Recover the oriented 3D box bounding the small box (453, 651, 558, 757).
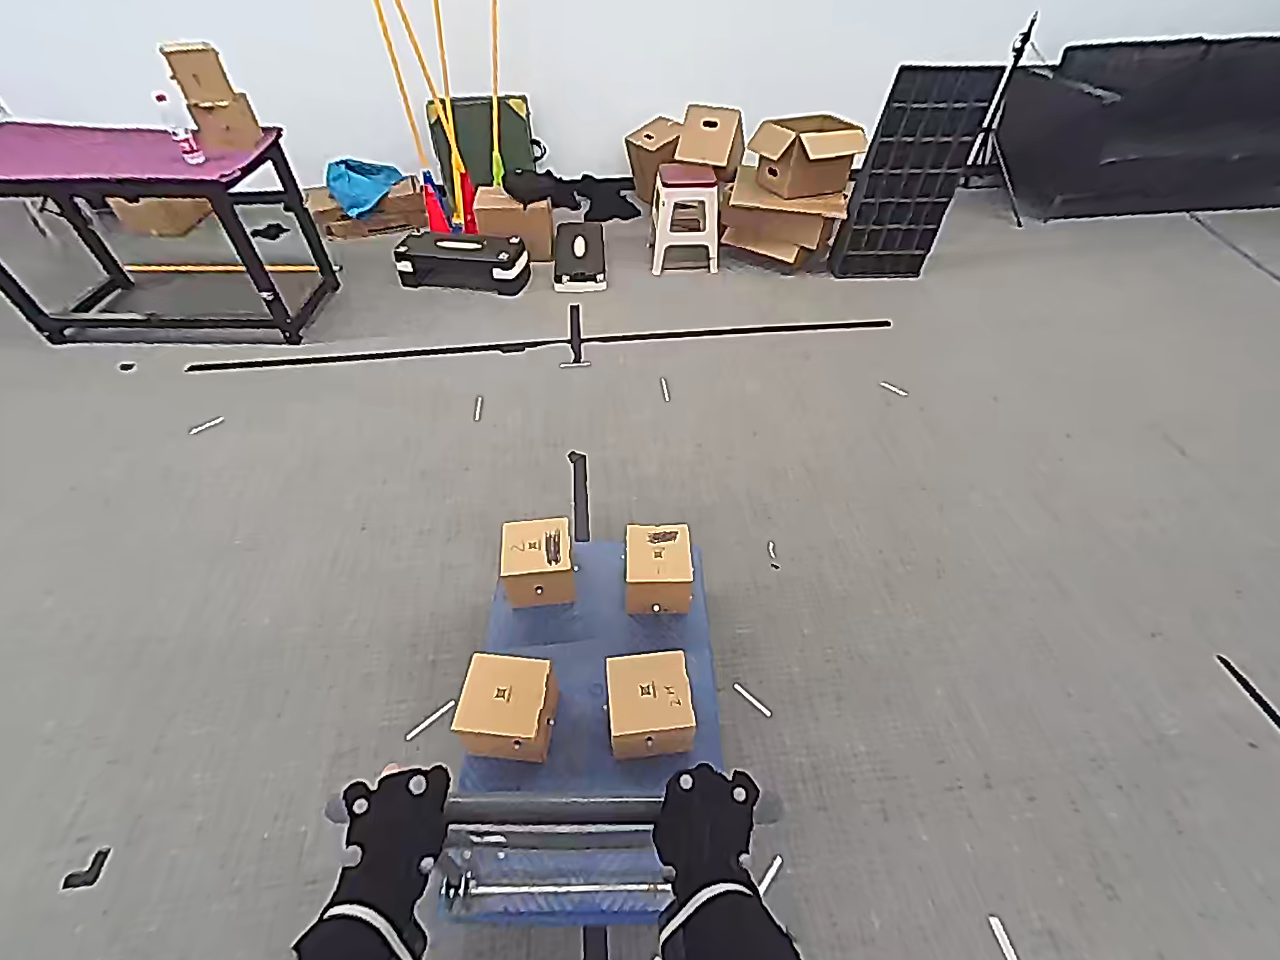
[{"bbox_3d":[-0.289,0.501,1.204,0.179,0.176,0.168,5,48,2],"label":"small box"}]

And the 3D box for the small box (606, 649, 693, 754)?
[{"bbox_3d":[0.018,0.499,1.208,0.179,0.176,0.168,-4,48,-4],"label":"small box"}]

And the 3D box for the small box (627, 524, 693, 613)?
[{"bbox_3d":[0.048,0.237,1.444,0.168,0.176,0.179,0,49,0],"label":"small box"}]
